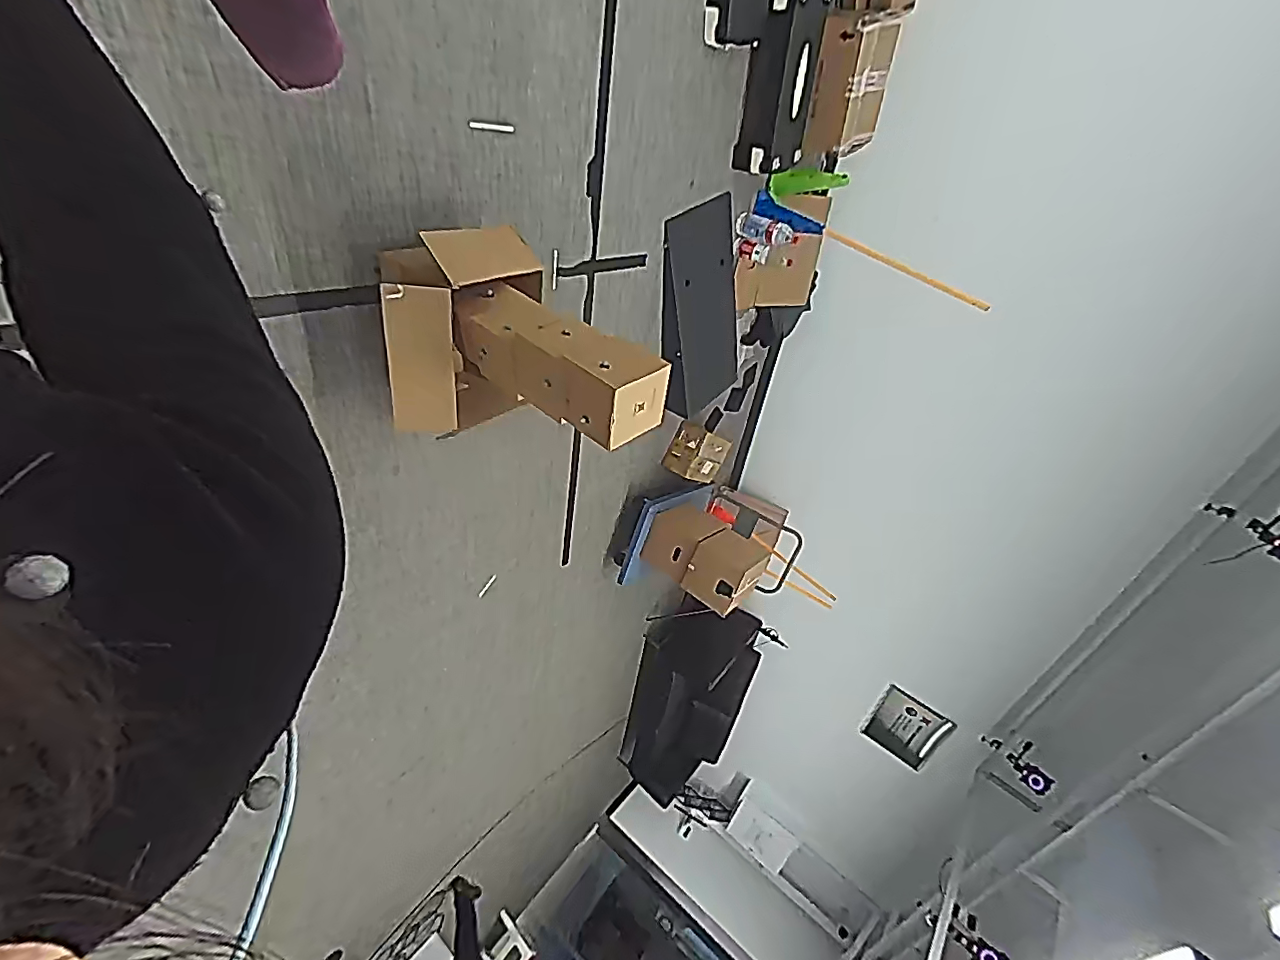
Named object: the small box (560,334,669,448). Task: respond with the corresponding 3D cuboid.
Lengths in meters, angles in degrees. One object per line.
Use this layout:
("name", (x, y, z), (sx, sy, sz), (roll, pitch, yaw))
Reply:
("small box", (-0.064, -0.205, 1.214), (0.179, 0.176, 0.168), (-33, 147, -37))

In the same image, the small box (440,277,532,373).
("small box", (-0.415, -0.431, 1.479), (0.168, 0.176, 0.179), (-42, 152, -24))

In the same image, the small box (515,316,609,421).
("small box", (-0.185, -0.276, 1.299), (0.168, 0.176, 0.179), (-32, 146, -35))
